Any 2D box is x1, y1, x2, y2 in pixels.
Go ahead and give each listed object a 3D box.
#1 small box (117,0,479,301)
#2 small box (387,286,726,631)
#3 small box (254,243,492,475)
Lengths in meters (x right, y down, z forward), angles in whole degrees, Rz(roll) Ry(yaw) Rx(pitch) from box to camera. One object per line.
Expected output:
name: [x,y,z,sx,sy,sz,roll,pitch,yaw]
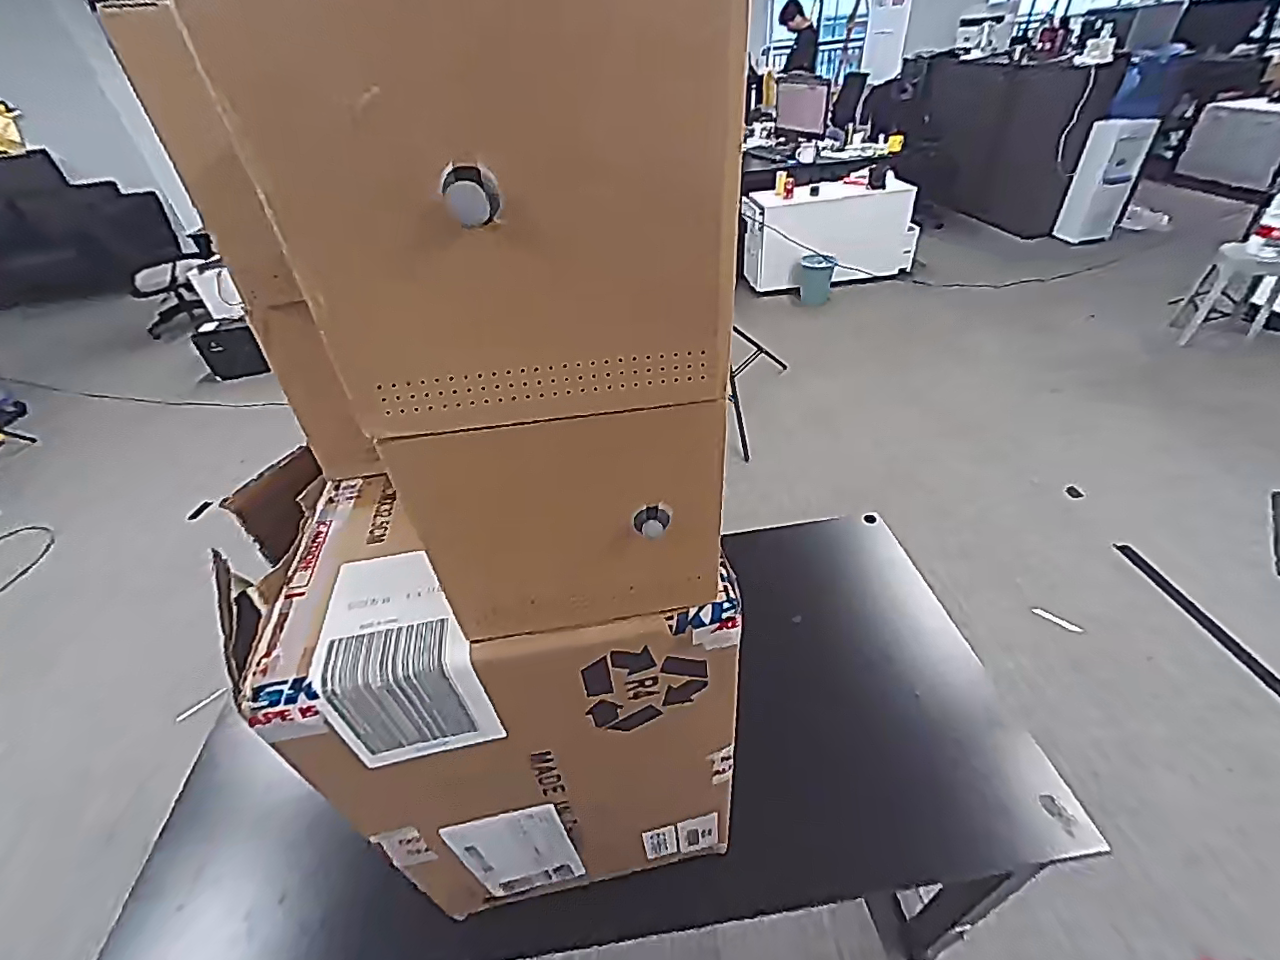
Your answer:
small box: [-0.230,-0.255,0.427,0.168,0.176,0.179,-12,38,-9]
small box: [-0.047,-0.017,0.385,0.179,0.176,0.168,-9,39,-4]
small box: [-0.228,-0.129,0.534,0.168,0.176,0.179,-10,39,-8]
